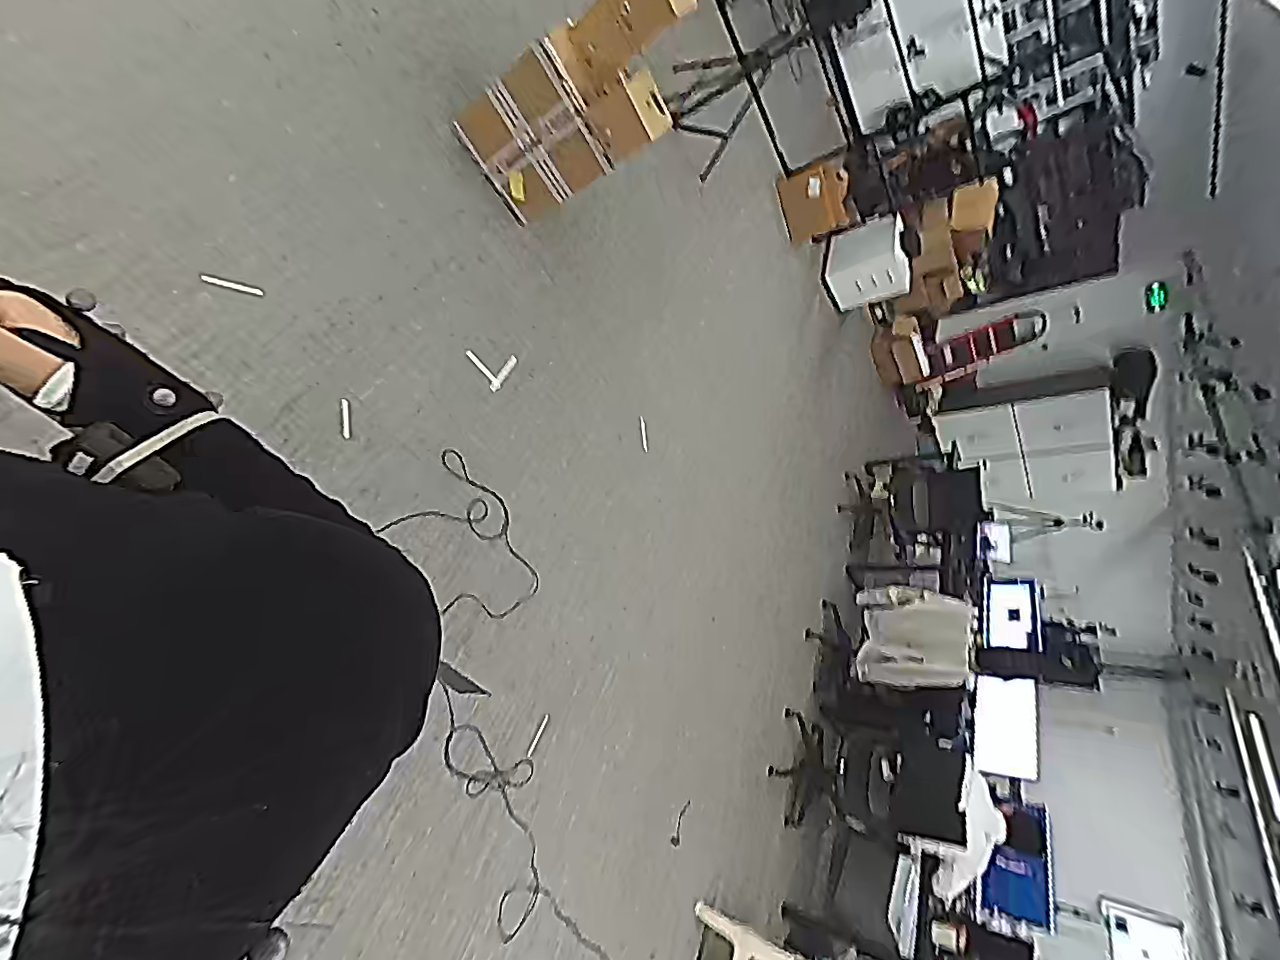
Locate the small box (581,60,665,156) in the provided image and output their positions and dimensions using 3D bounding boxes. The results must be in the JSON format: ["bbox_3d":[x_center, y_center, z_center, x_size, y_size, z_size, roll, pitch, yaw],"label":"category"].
[{"bbox_3d":[-0.055,-1.164,1.699,0.168,0.176,0.179,53,50,-33],"label":"small box"}]

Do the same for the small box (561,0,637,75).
[{"bbox_3d":[-0.111,-1.398,1.662,0.168,0.176,0.179,51,50,-31],"label":"small box"}]

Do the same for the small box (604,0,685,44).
[{"bbox_3d":[0.011,-1.411,1.556,0.168,0.176,0.179,51,51,-30],"label":"small box"}]
